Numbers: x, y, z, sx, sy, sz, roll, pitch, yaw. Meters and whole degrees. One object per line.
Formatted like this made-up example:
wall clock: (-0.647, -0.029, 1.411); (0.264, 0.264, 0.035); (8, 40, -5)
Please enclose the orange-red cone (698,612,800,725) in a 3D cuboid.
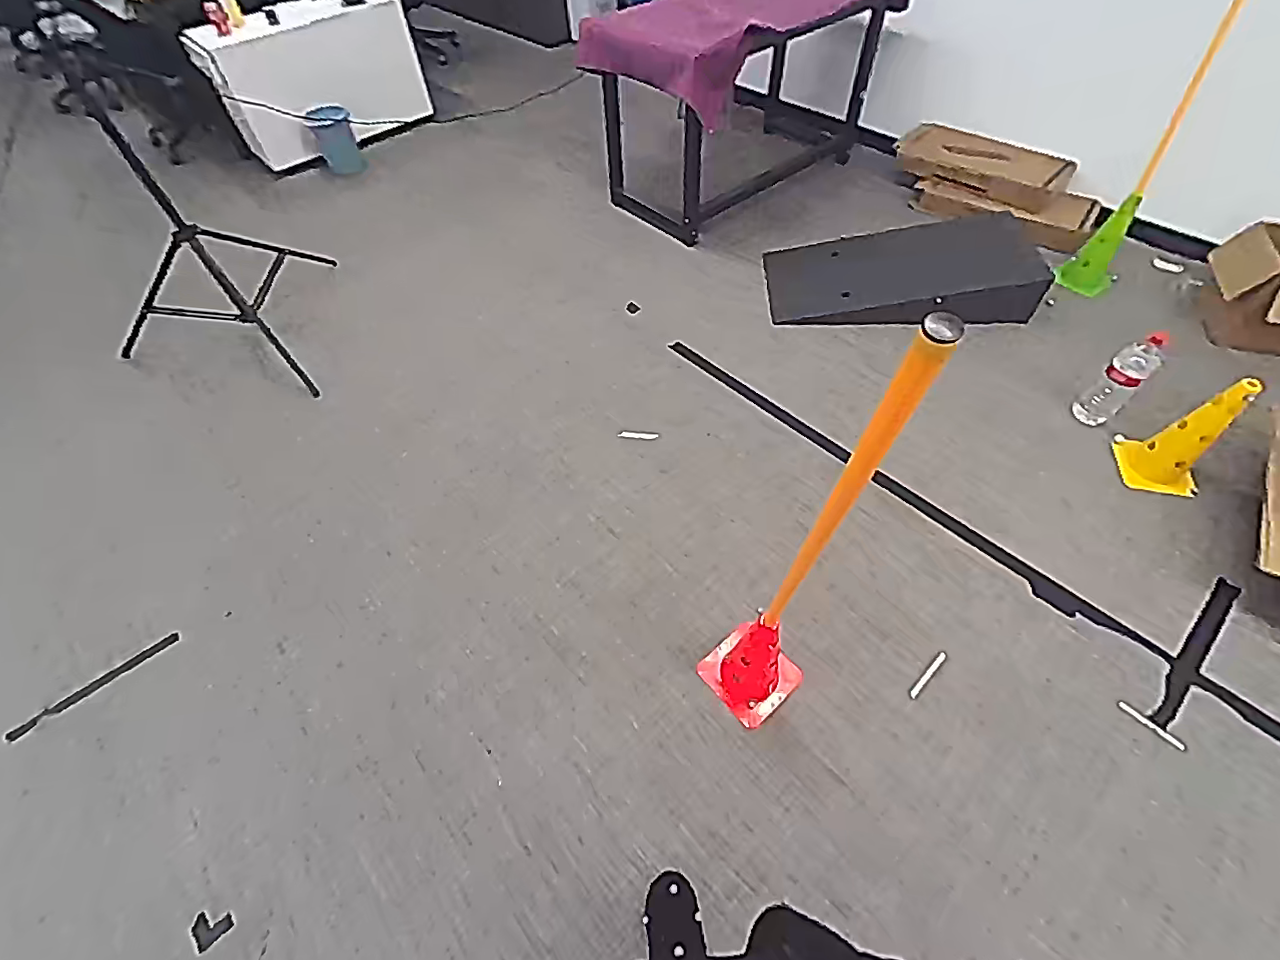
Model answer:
orange-red cone: (0.266, 0.378, 1.214); (0.199, 0.360, 0.198); (-34, 60, -21)
